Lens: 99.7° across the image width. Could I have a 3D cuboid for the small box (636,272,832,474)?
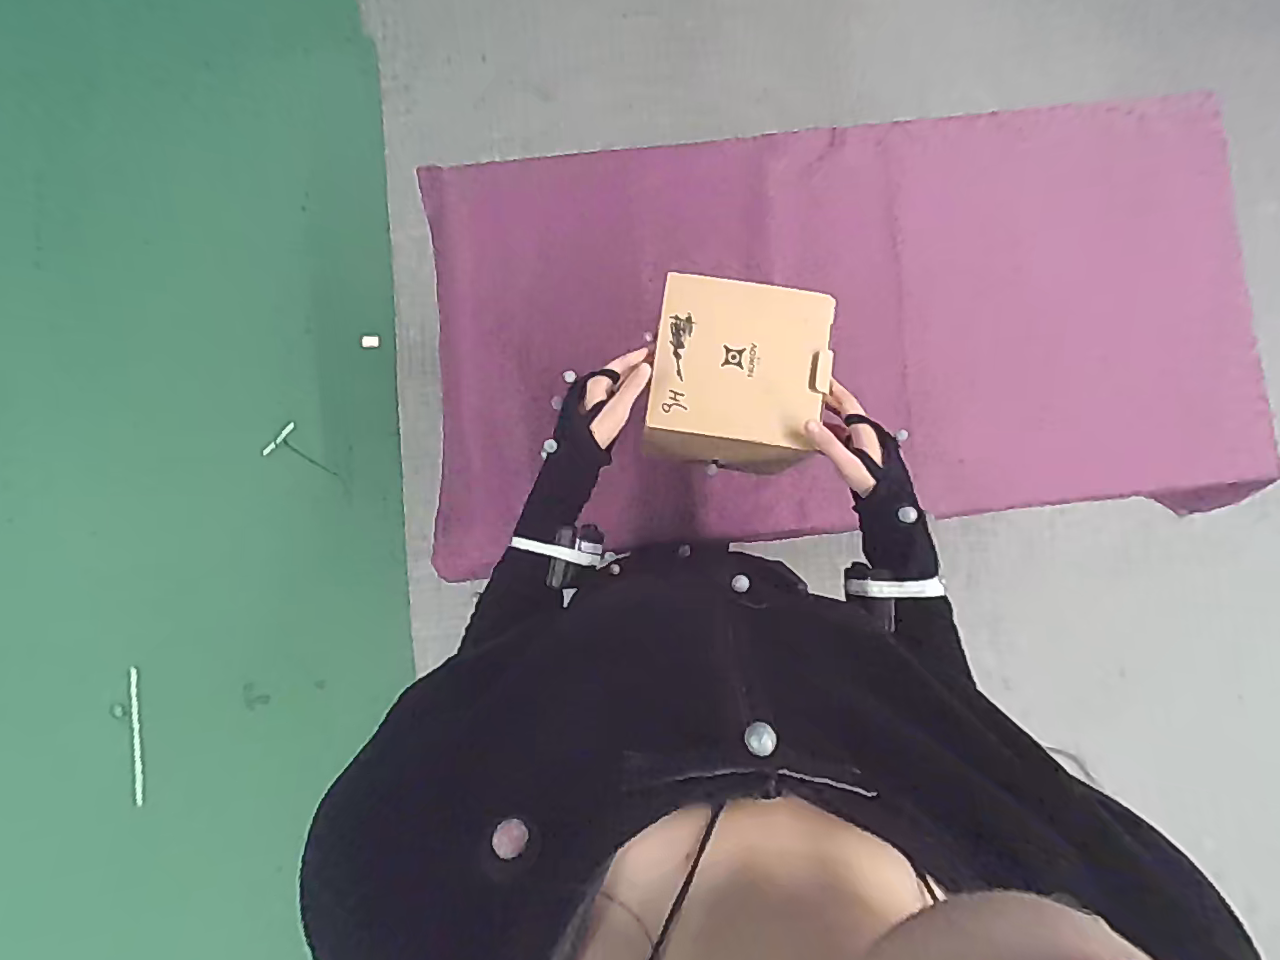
[{"bbox_3d":[0.096,-0.107,0.621,0.179,0.176,0.168,10,81,0],"label":"small box"}]
